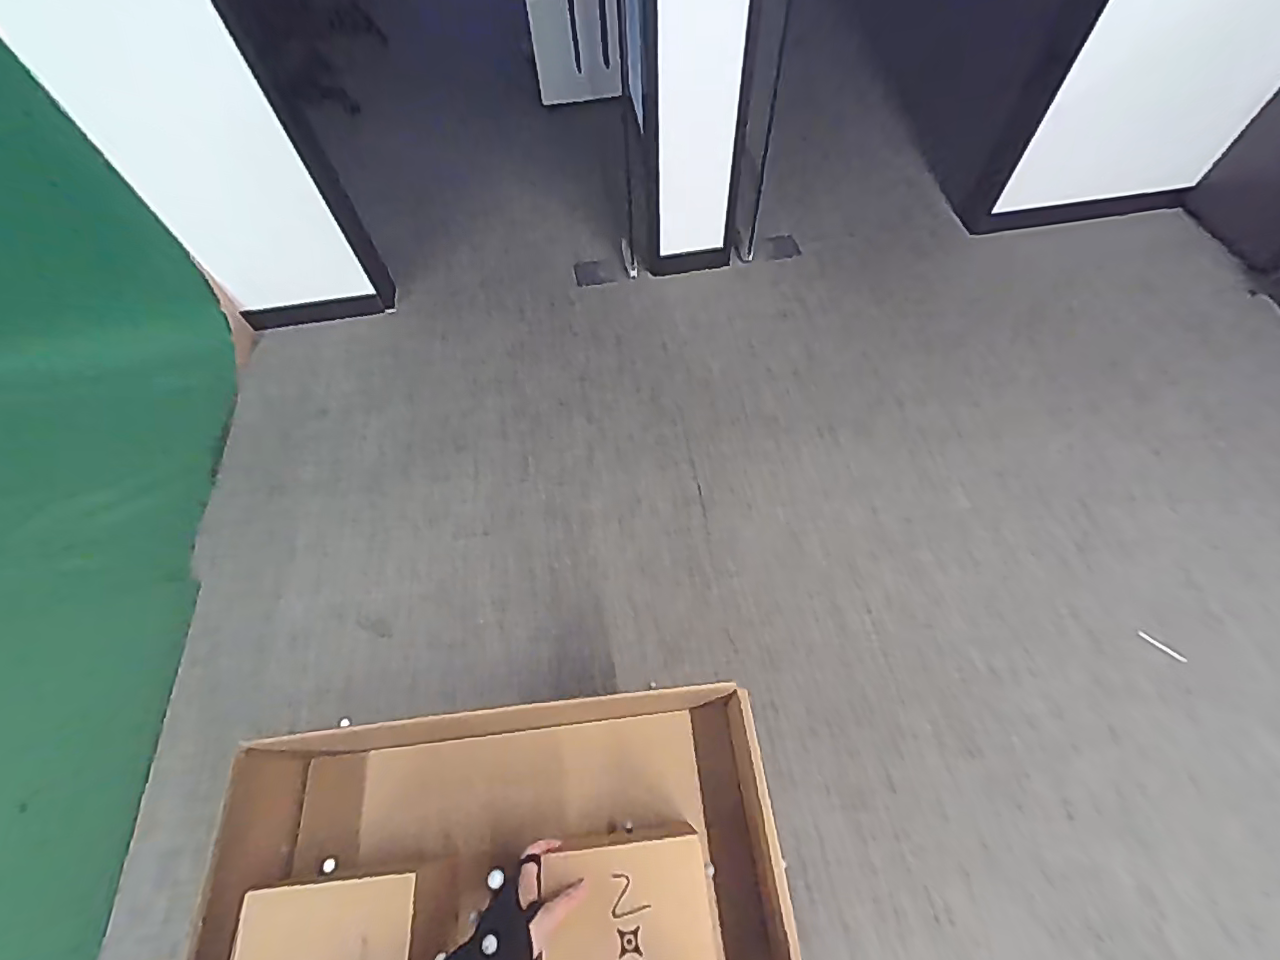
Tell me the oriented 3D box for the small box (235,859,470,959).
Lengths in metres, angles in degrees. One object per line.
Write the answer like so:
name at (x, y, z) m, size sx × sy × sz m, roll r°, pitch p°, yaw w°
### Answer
small box at (-0.300, 0.517, 0.578) m, size 0.179 × 0.176 × 0.168 m, roll -5°, pitch 60°, yaw -1°
